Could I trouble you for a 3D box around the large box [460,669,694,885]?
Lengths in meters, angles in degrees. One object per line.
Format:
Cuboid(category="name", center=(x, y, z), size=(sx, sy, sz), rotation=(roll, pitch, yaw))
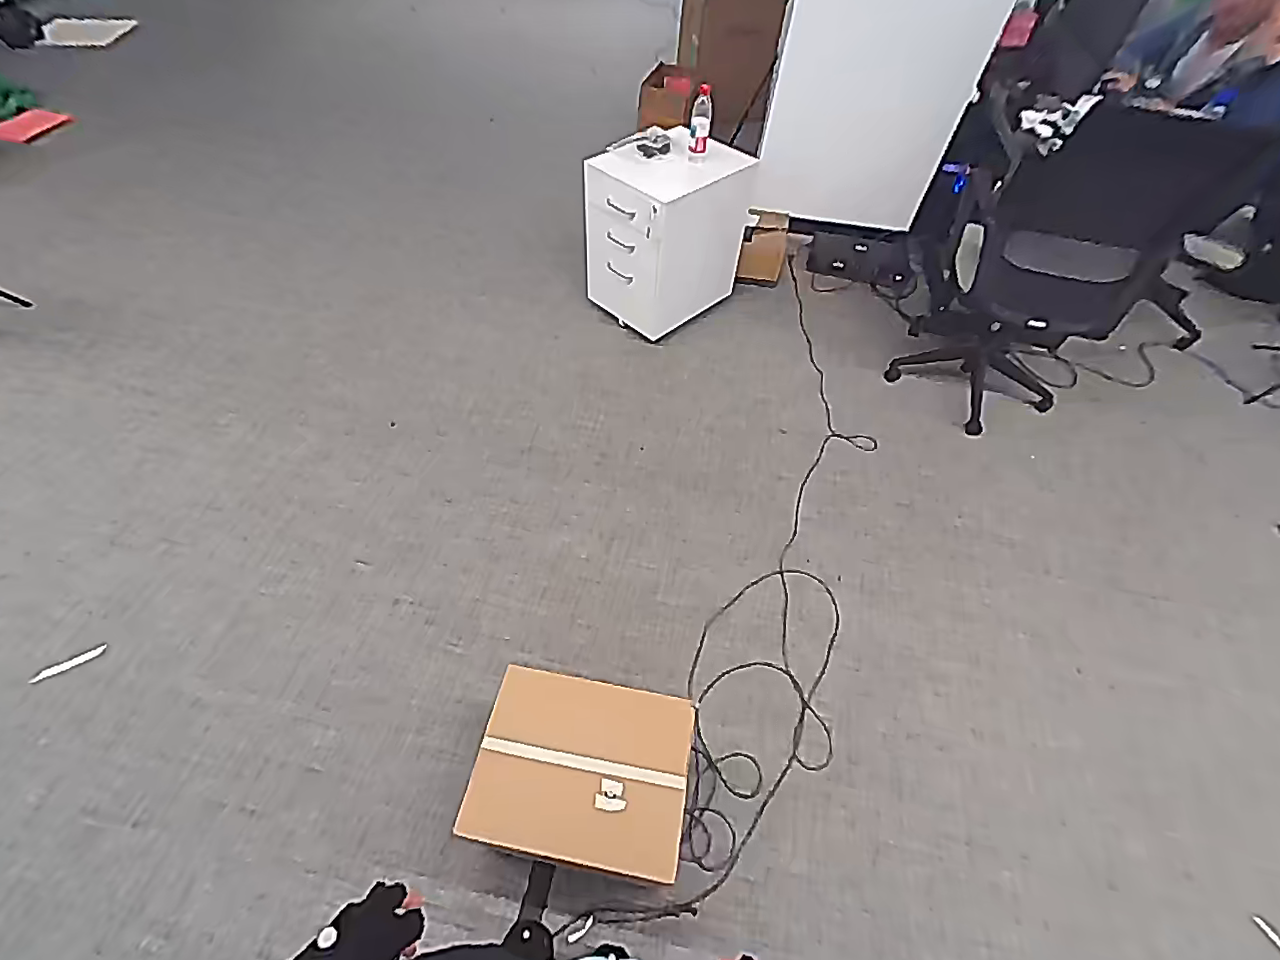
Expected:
Cuboid(category="large box", center=(-0.116, 0.642, 1.166), size=(0.408, 0.320, 0.320), rotation=(10, 53, 4))
